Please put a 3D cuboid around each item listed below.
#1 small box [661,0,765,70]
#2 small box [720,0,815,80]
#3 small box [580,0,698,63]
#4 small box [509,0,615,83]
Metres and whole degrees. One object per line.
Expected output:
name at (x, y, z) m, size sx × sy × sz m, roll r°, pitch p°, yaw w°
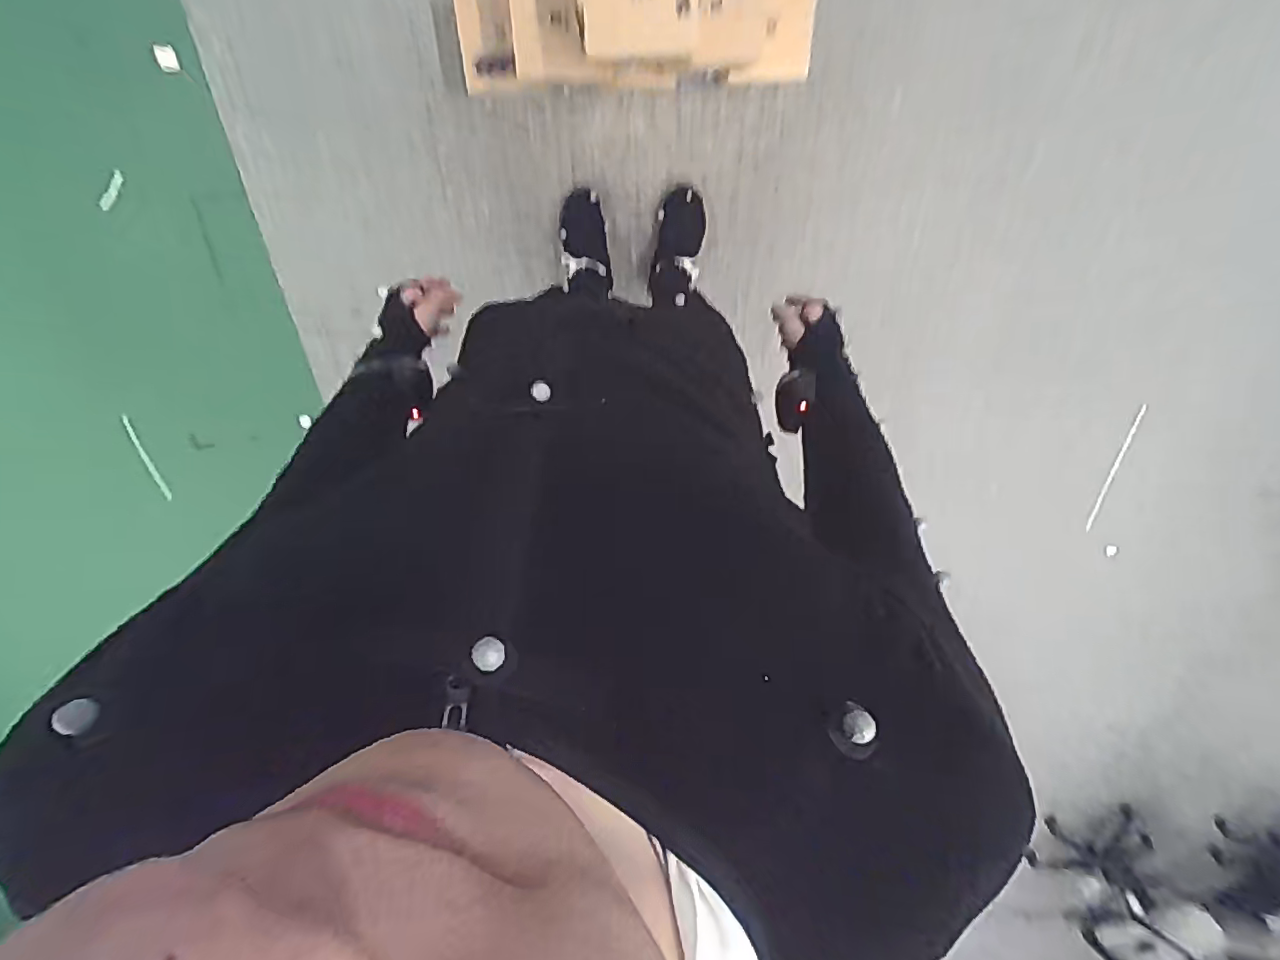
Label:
small box at (0.123, -0.859, 0.980) m, size 0.179 × 0.176 × 0.168 m, roll -4°, pitch 123°, yaw 1°
small box at (0.258, -0.945, 1.121) m, size 0.168 × 0.176 × 0.179 m, roll -2°, pitch 122°, yaw 1°
small box at (-0.001, -0.766, 0.844) m, size 0.179 × 0.176 × 0.168 m, roll -2°, pitch 122°, yaw 1°
small box at (-0.135, -0.839, 0.990) m, size 0.179 × 0.176 × 0.168 m, roll 0°, pitch 122°, yaw 1°
